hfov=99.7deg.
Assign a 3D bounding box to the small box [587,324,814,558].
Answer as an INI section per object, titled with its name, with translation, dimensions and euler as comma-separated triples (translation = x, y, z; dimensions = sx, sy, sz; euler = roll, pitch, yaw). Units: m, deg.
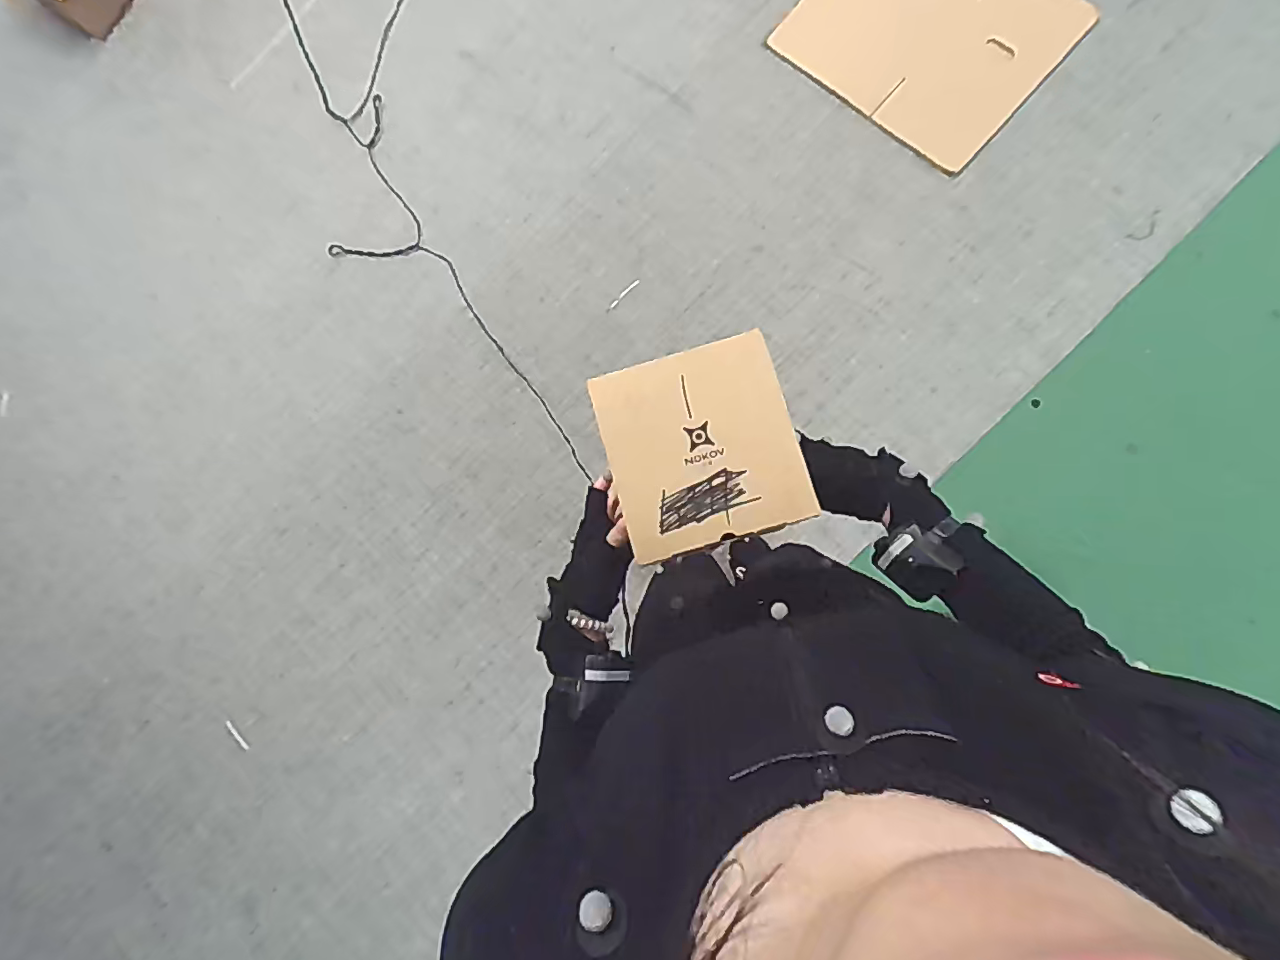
[small box]
translation = 0.057, -0.028, 0.553
dimensions = 0.168, 0.176, 0.179
euler = -16, 83, 2
